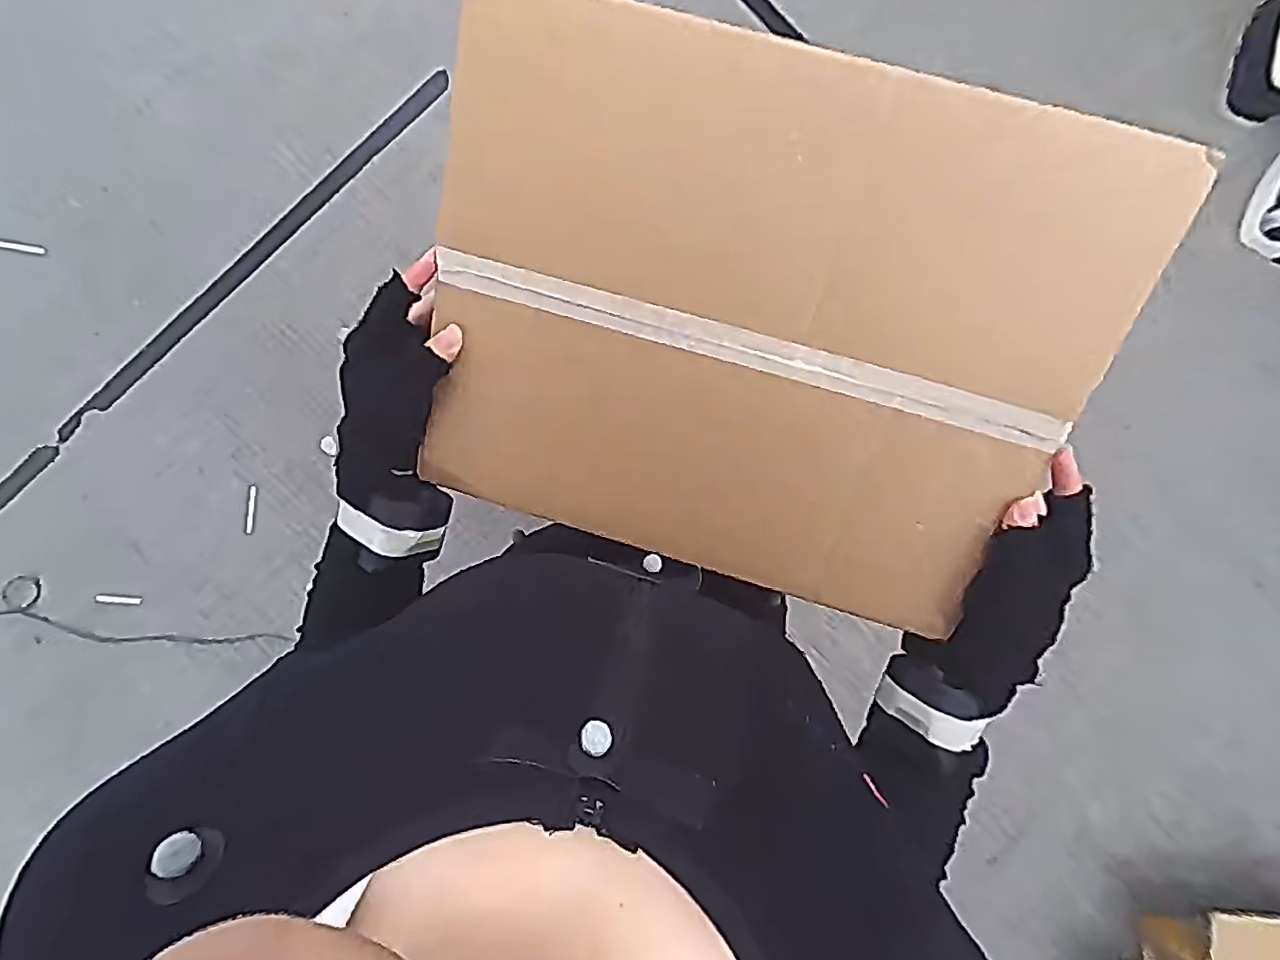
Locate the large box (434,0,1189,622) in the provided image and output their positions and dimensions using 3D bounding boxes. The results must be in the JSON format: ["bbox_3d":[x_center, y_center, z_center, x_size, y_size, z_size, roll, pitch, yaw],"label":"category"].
[{"bbox_3d":[0.087,-0.136,0.488,0.408,0.320,0.320,17,112,3],"label":"large box"}]
